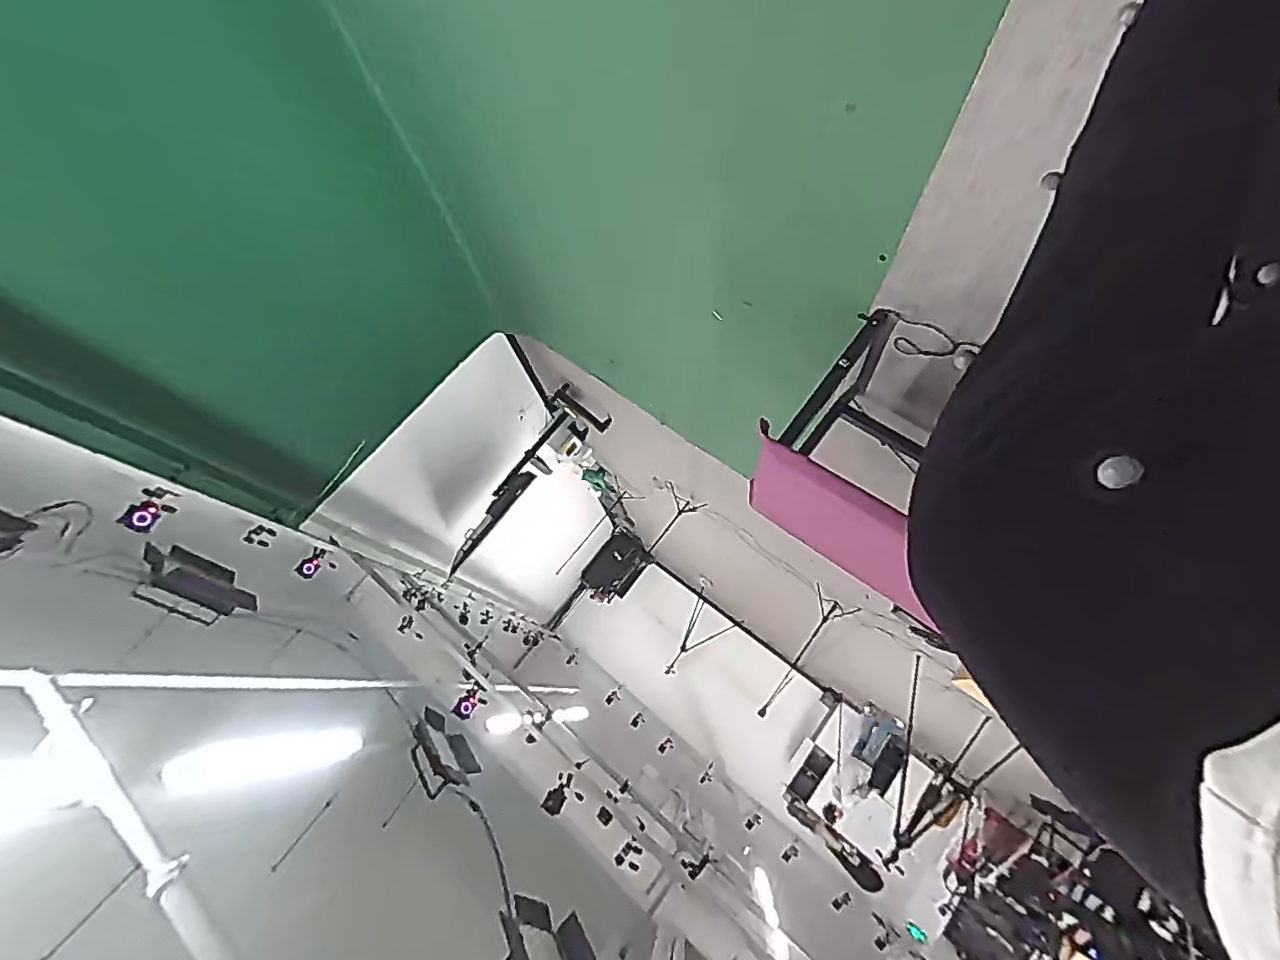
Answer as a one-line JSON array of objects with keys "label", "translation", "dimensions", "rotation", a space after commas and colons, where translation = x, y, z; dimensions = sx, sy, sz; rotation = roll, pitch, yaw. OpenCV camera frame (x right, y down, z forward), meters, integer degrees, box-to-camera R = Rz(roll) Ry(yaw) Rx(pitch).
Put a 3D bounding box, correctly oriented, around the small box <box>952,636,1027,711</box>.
[{"label": "small box", "translation": [1.223, 0.660, 1.849], "dimensions": [0.179, 0.176, 0.168], "rotation": [36, 167, 18]}]
